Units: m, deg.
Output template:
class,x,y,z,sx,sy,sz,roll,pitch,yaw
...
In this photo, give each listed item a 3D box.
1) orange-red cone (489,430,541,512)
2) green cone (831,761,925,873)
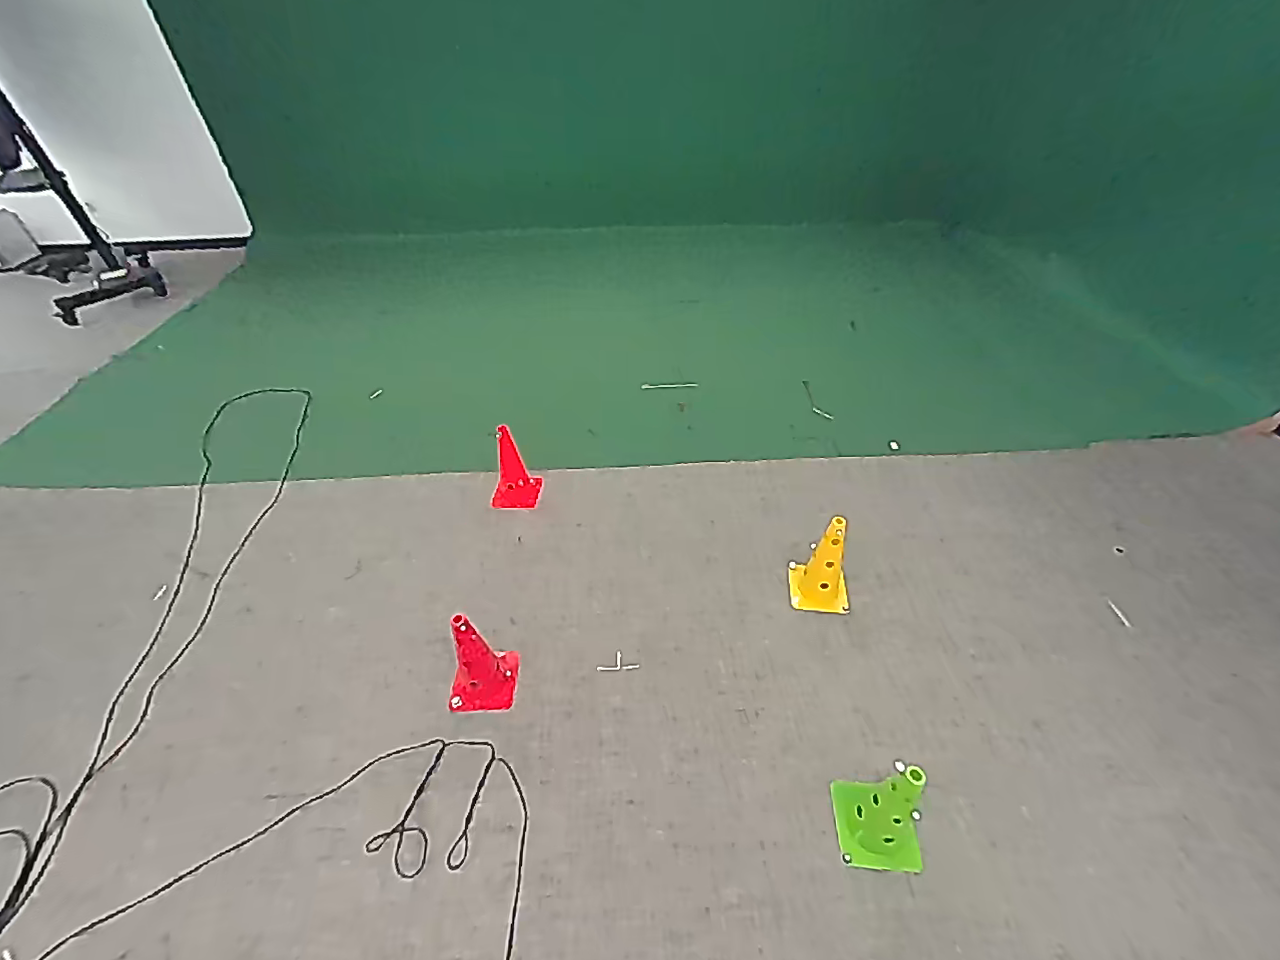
class,x,y,z,sx,sy,sz,roll,pitch,yaw
orange-red cone,-0.554,-0.056,2.256,0.199,0.360,0.198,1,42,5
green cone,0.617,0.780,1.308,0.200,0.368,0.202,2,41,3
